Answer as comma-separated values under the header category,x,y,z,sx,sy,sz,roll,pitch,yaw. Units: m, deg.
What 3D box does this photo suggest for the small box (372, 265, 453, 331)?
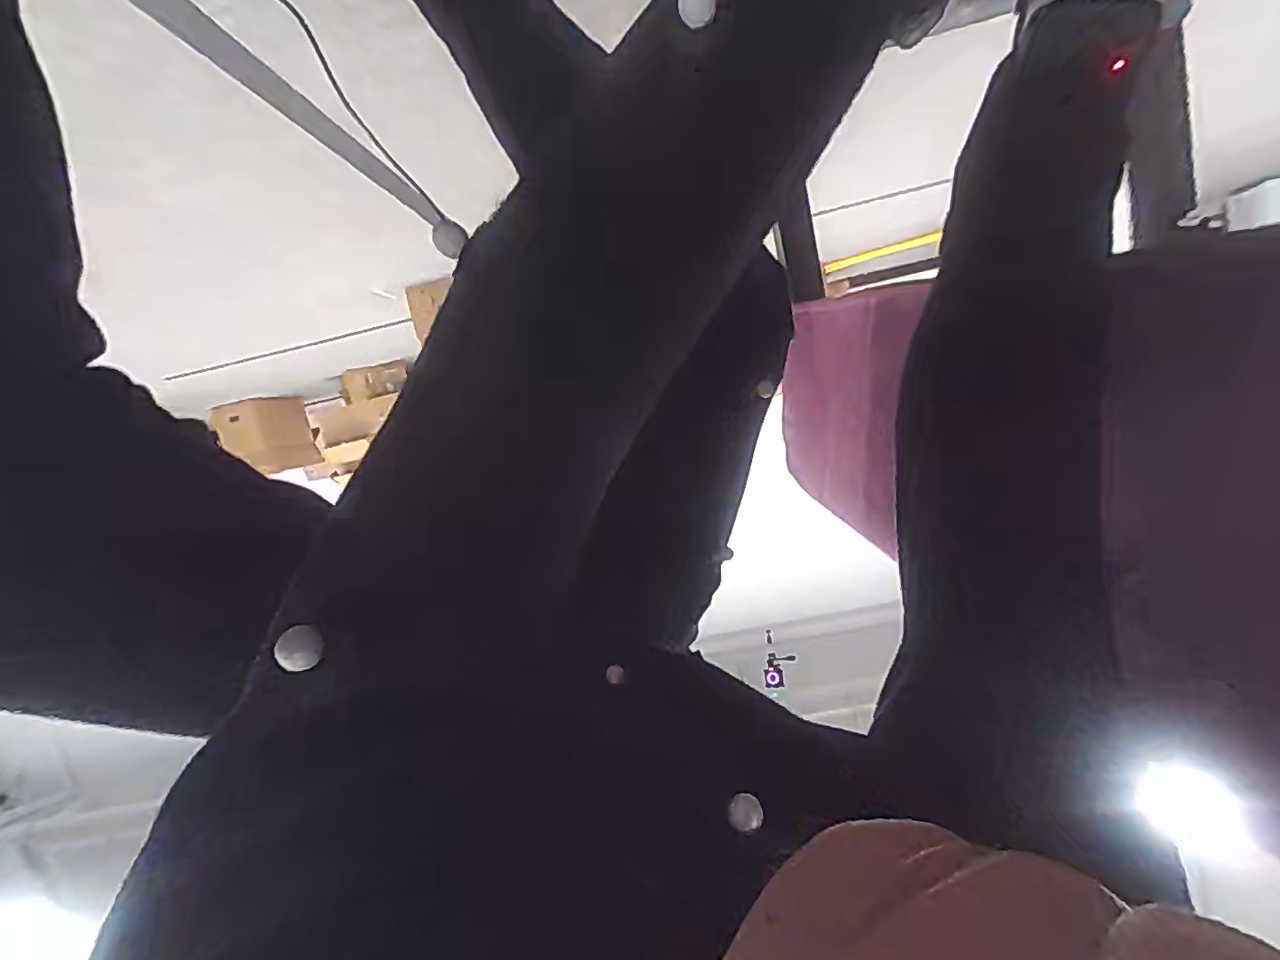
category,x,y,z,sx,sy,sz,roll,pitch,yaw
small box,-0.749,-0.600,1.788,0.168,0.176,0.179,-13,-170,6
